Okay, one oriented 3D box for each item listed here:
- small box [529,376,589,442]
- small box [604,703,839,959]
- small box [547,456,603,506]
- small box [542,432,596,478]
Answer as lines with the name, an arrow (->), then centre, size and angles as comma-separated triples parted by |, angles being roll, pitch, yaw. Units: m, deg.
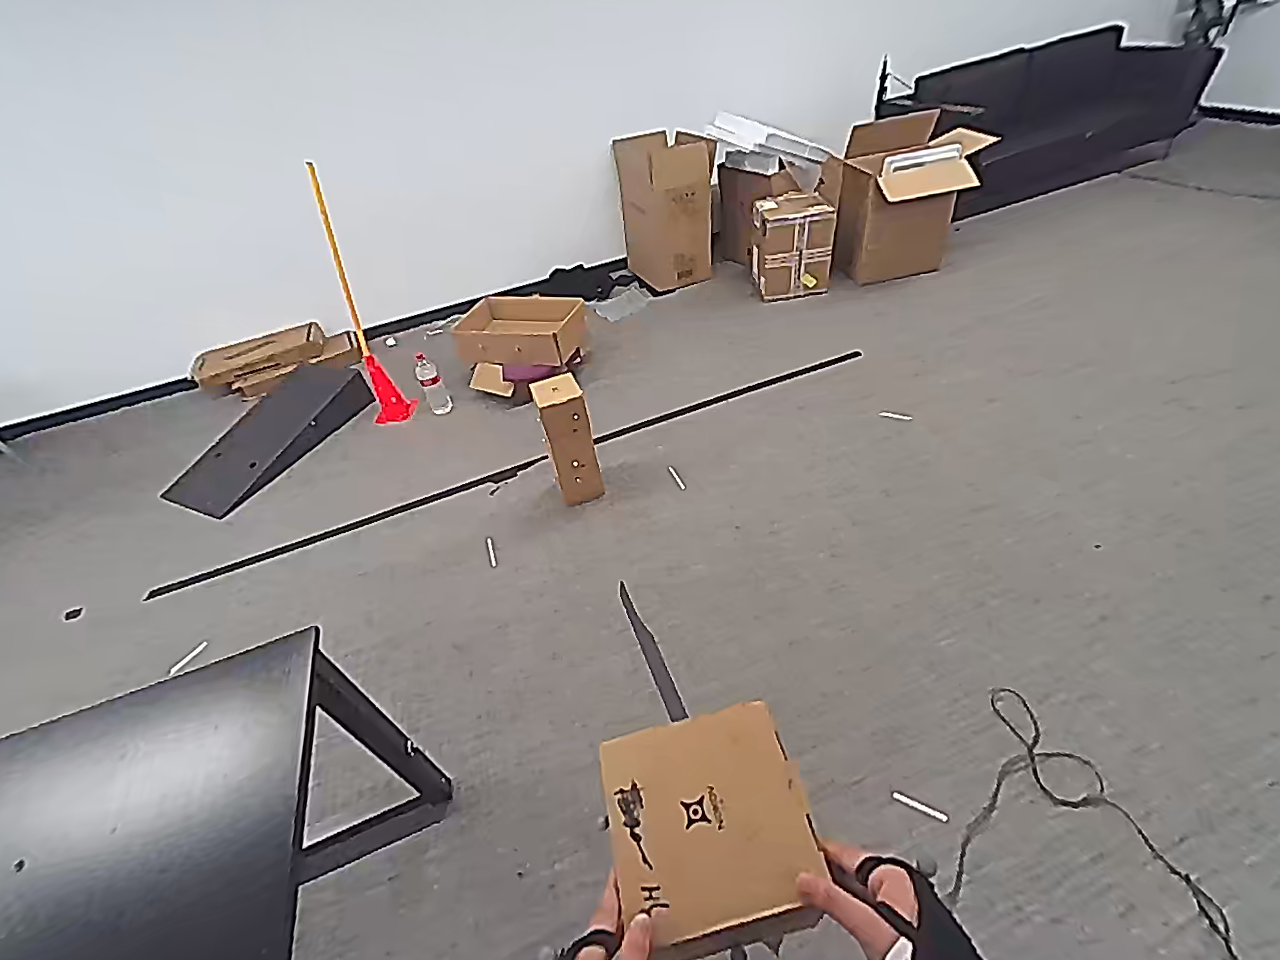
small box -> -0.301, -0.258, 2.018 | 0.168, 0.176, 0.179 | -19, 42, -12
small box -> 0.070, 0.354, 0.539 | 0.179, 0.176, 0.168 | -12, 42, -4
small box -> -0.268, -0.018, 2.238 | 0.179, 0.176, 0.168 | -18, 43, -11
small box -> -0.283, -0.137, 2.125 | 0.168, 0.176, 0.179 | -19, 44, -10
